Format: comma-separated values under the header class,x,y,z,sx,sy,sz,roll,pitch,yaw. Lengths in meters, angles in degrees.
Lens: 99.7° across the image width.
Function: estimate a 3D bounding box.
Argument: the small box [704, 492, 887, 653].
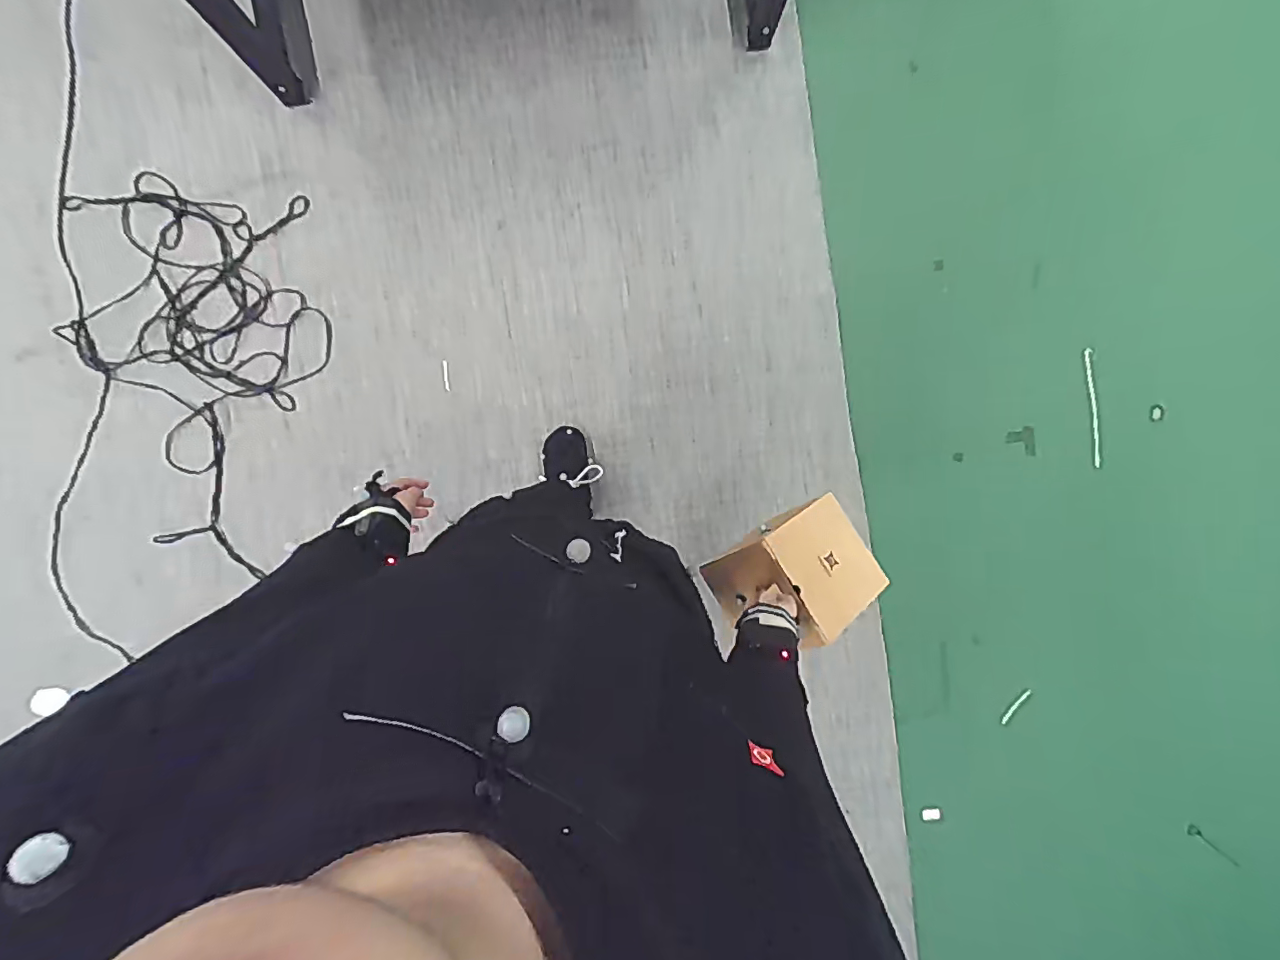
class,x,y,z,sx,sy,sz,roll,pitch,yaw
small box,0.233,0.146,0.837,0.179,0.176,0.168,-28,83,-35
